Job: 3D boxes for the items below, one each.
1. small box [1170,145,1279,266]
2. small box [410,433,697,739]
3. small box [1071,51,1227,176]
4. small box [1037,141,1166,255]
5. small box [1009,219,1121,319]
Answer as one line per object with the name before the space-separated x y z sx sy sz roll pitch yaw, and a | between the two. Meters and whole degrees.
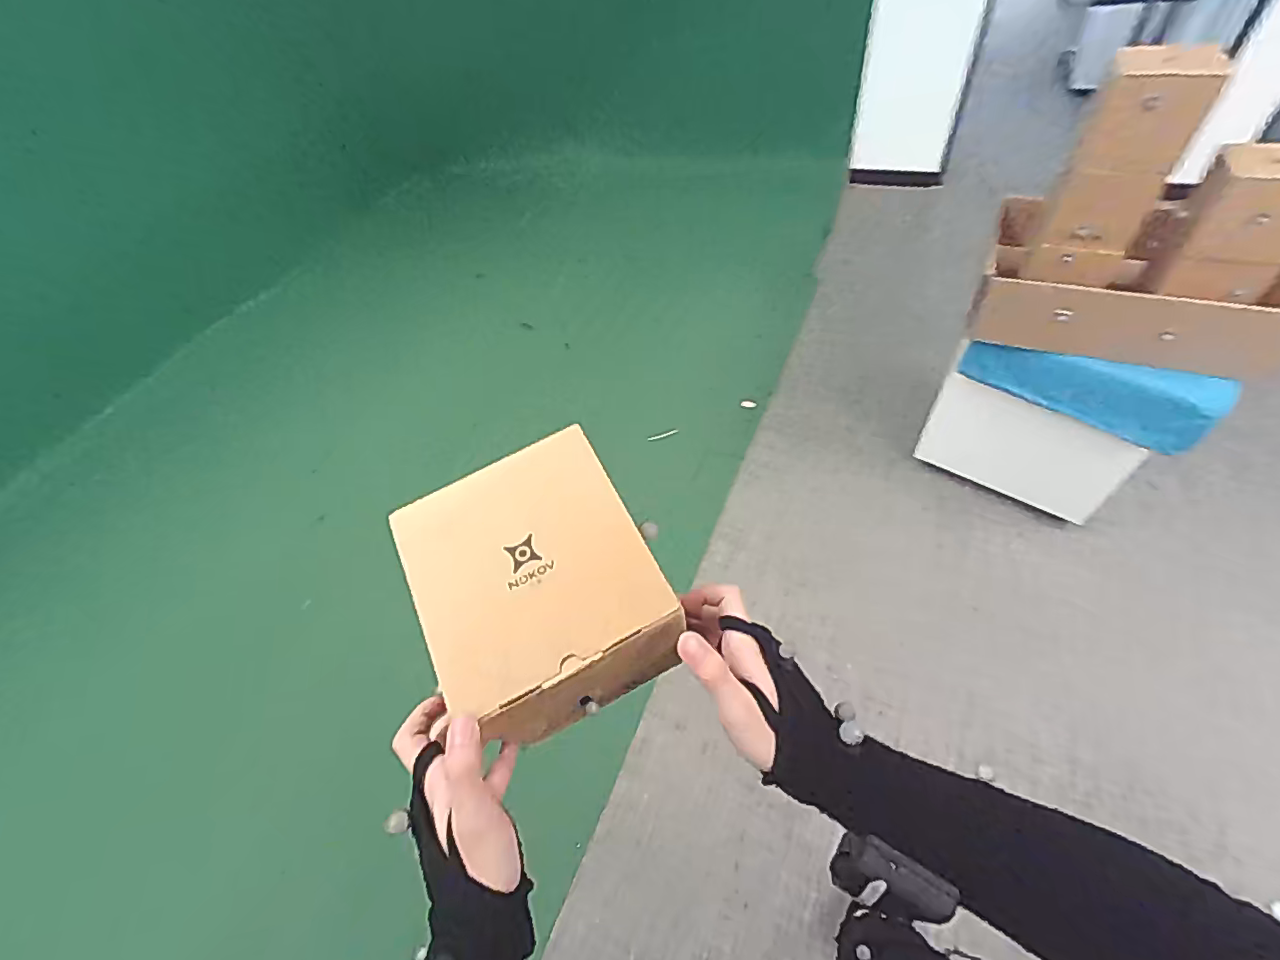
small box | 1.261 -0.565 1.119 0.179 0.176 0.168 15 55 21
small box | -0.064 0.098 0.462 0.168 0.176 0.179 -26 62 -8
small box | 1.003 -0.733 1.087 0.179 0.176 0.168 16 56 21
small box | 1.025 -0.635 1.217 0.168 0.176 0.179 16 56 20
small box | 1.043 -0.529 1.339 0.168 0.176 0.179 16 55 20
